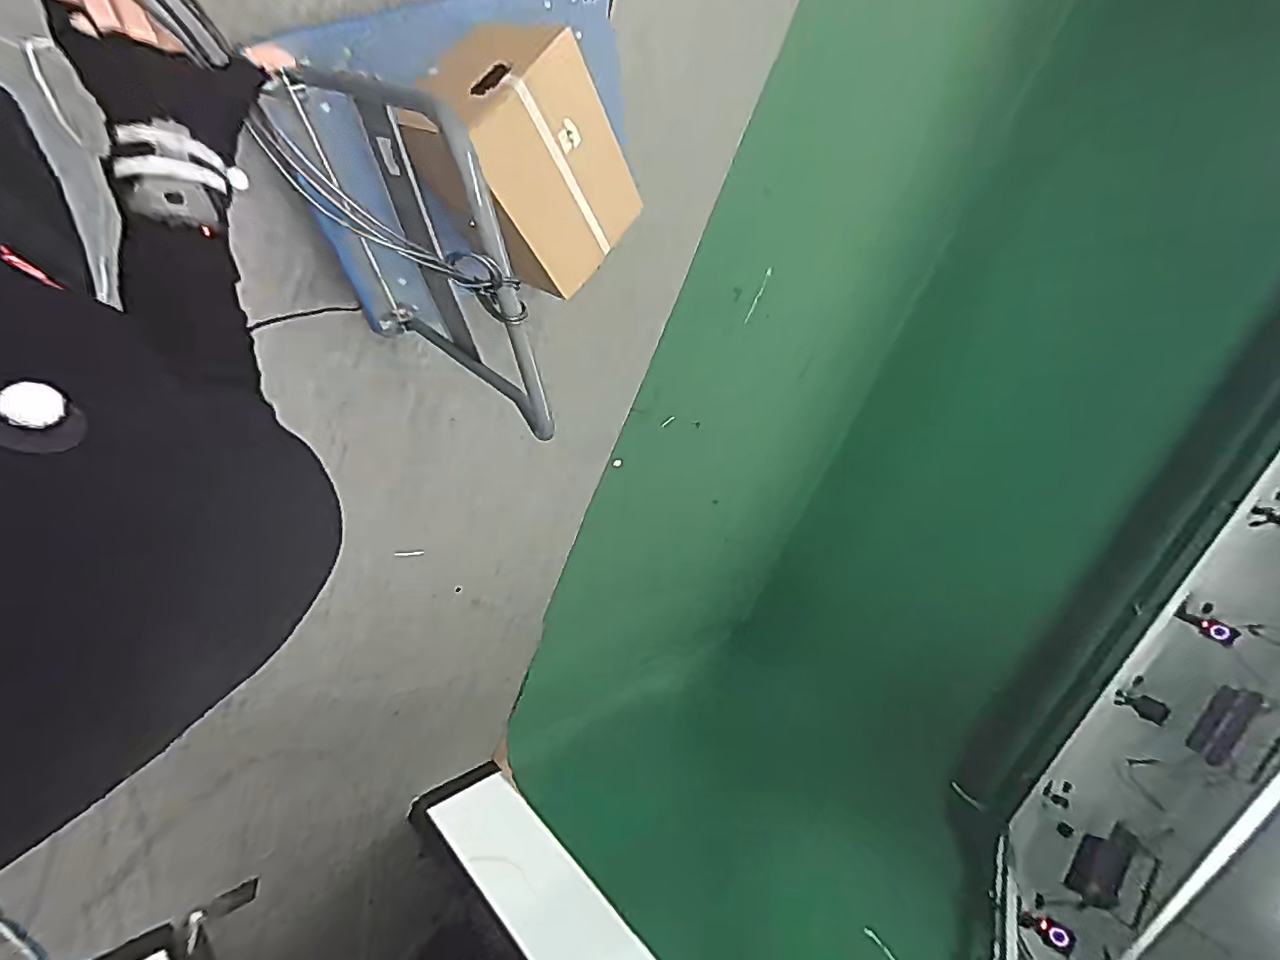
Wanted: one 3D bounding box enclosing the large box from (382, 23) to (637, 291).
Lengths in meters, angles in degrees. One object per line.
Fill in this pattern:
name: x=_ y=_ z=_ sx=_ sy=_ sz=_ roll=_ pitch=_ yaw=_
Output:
large box: x=-0.273 y=-0.712 z=1.221 sx=0.320 sy=0.320 sz=0.408 roll=-53 pitch=147 yaw=-8
